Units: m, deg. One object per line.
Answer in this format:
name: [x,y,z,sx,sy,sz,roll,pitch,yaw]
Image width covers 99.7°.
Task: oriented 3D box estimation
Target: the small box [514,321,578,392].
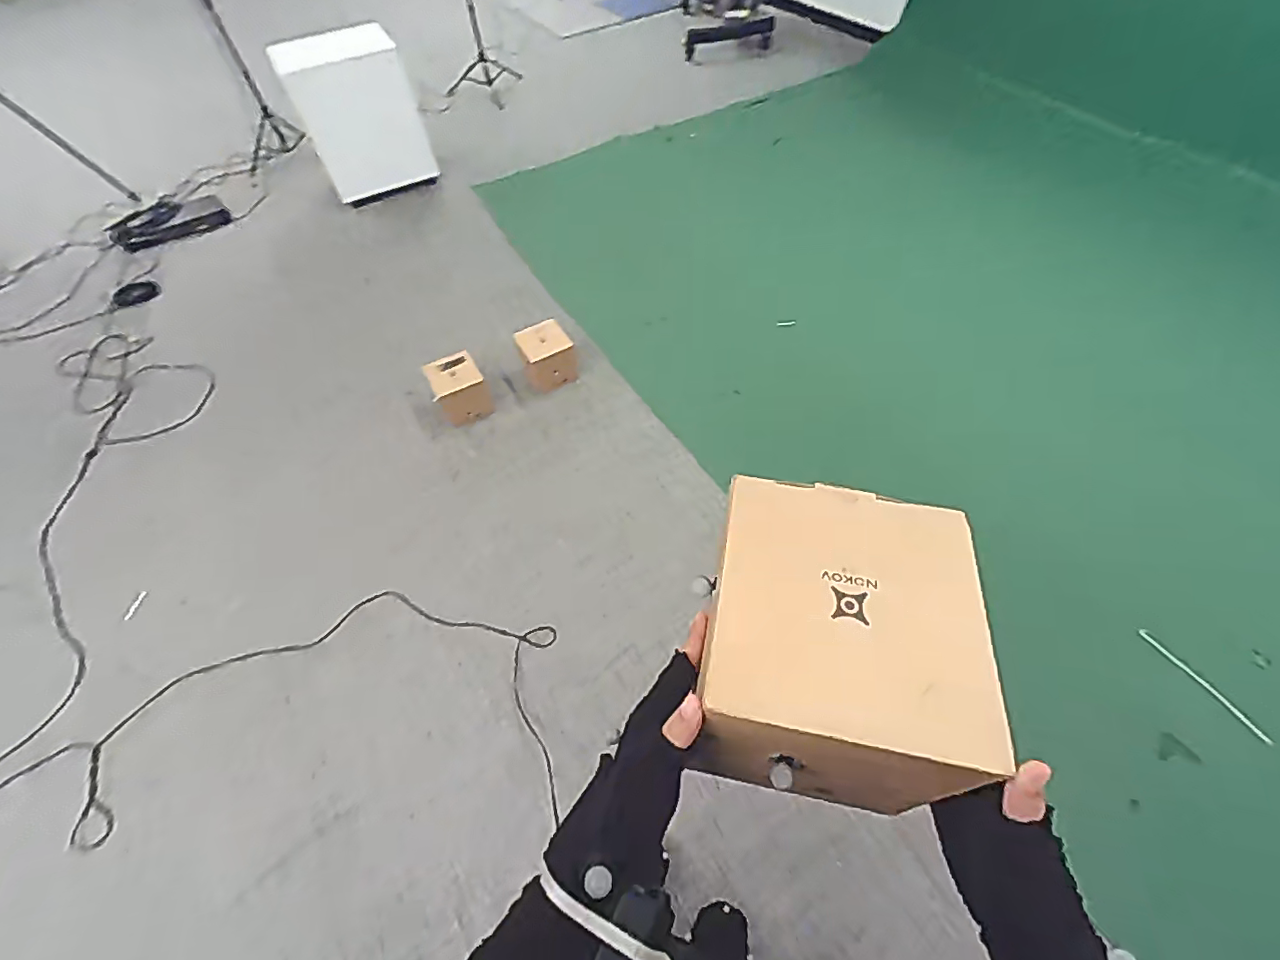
small box: [-0.340,-0.448,1.993,0.168,0.176,0.179,-27,59,-16]
